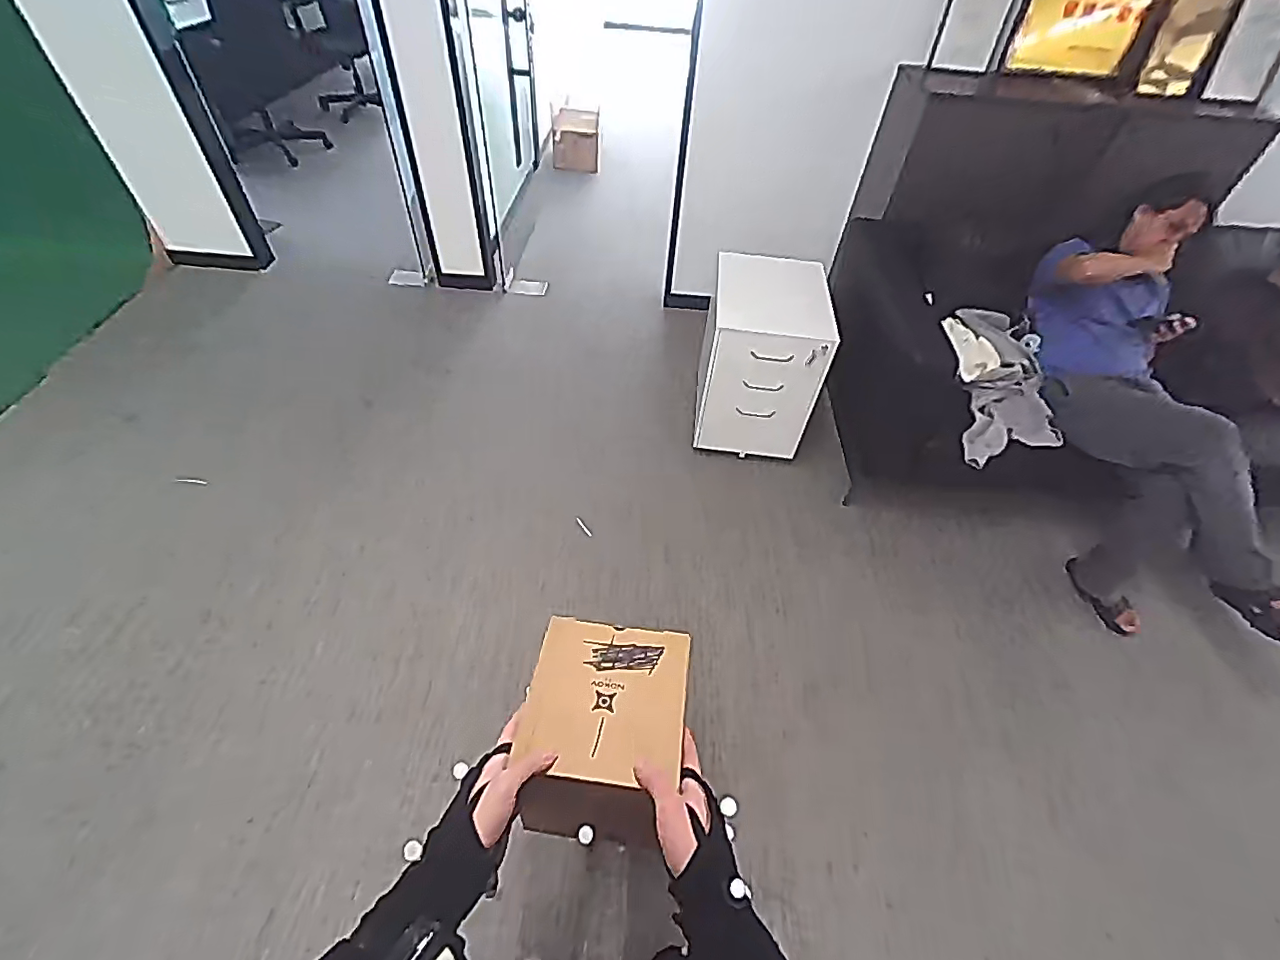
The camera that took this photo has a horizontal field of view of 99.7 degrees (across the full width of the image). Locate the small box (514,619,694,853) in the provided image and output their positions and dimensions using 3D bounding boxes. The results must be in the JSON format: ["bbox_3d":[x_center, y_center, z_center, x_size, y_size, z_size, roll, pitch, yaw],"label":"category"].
[{"bbox_3d":[-0.034,0.290,0.619,0.168,0.176,0.179,7,40,4],"label":"small box"}]
